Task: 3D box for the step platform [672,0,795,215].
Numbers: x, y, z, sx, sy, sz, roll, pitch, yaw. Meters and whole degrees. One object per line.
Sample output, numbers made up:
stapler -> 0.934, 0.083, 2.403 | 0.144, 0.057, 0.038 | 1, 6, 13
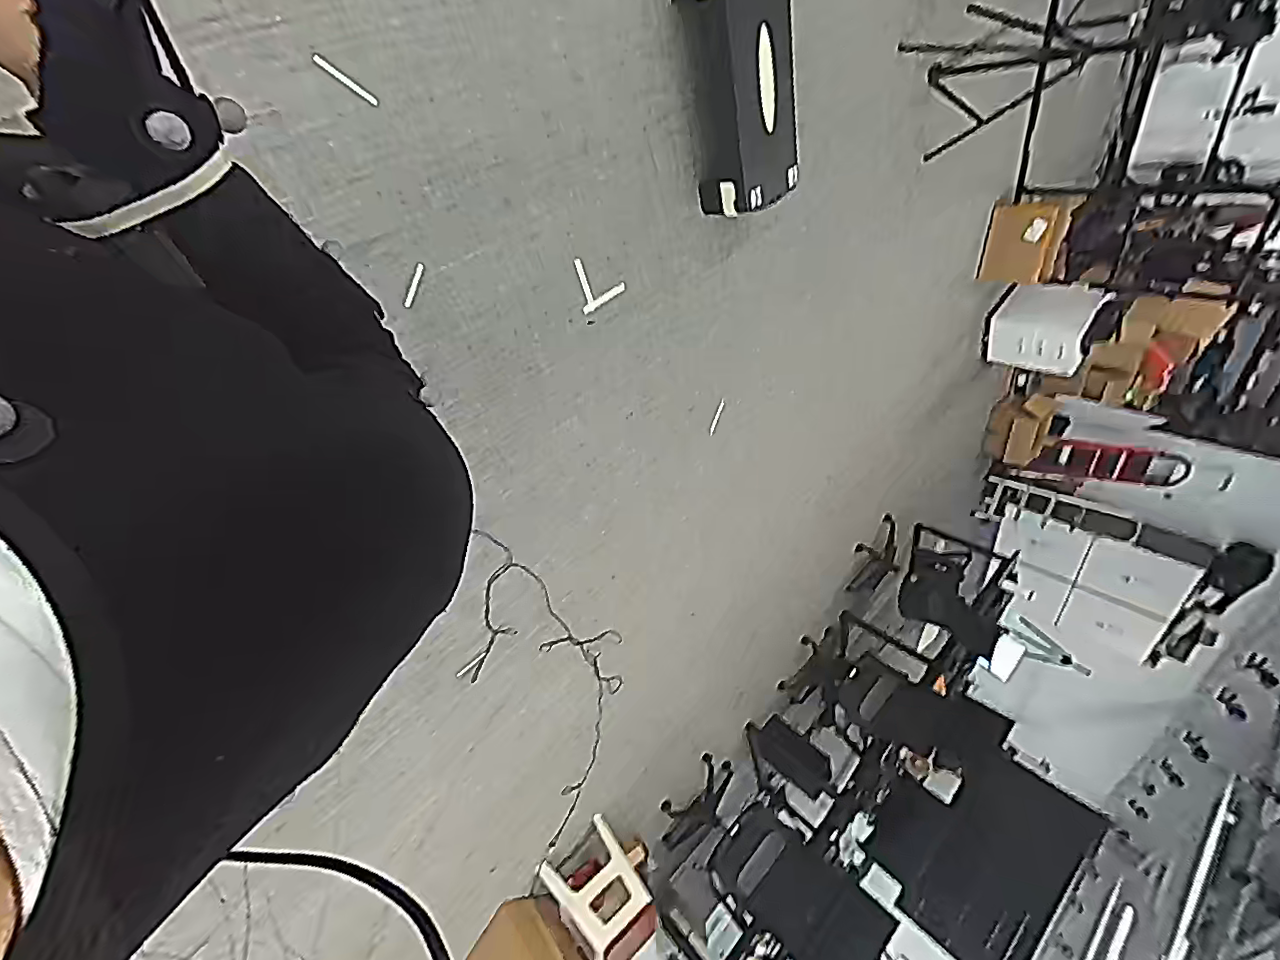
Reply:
step platform -> 0.302, -1.192, 1.639 | 0.286, 0.204, 0.684 | -39, 133, -25
